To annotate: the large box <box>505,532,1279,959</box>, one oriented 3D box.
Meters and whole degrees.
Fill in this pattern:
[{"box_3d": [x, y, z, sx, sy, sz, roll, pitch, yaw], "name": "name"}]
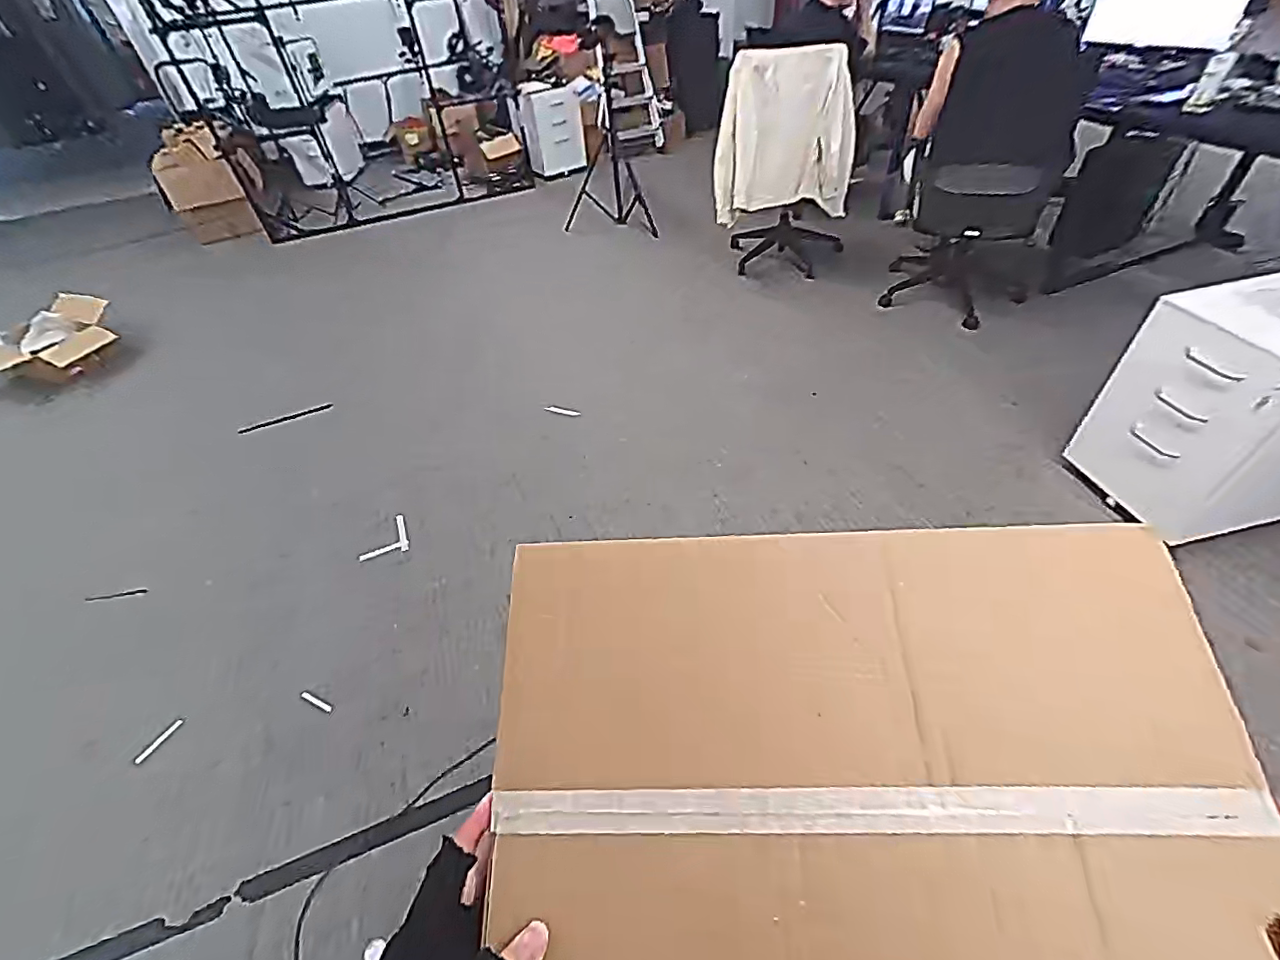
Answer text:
[{"box_3d": [0.136, 0.245, 0.433, 0.408, 0.320, 0.320, -2, 66, 5], "name": "large box"}]
